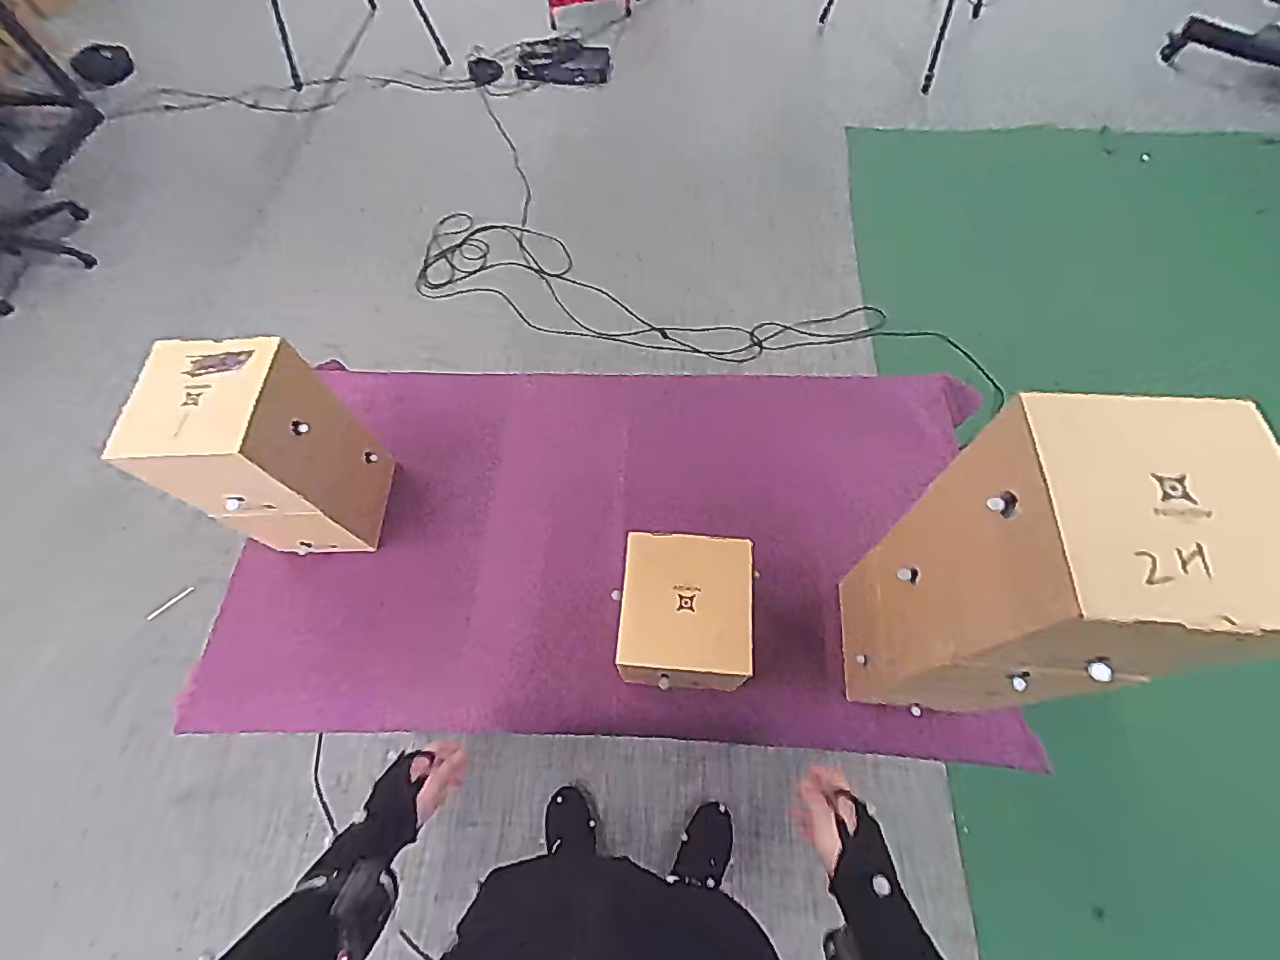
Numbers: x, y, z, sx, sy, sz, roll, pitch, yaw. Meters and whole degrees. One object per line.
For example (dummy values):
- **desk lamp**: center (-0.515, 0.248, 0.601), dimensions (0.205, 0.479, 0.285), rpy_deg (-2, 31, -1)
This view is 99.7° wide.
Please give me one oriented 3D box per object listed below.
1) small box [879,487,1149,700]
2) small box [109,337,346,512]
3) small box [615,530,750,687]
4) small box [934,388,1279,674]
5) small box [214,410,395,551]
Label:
- **small box**: center (0.372, 0.127, 0.583), dimensions (0.168, 0.176, 0.179), rpy_deg (4, 62, 6)
- **small box**: center (-0.528, -0.069, 0.728), dimensions (0.168, 0.176, 0.179), rpy_deg (-2, 64, 3)
- **small box**: center (0.063, 0.186, 0.756), dimensions (0.168, 0.176, 0.179), rpy_deg (3, 62, 5)
- **small box**: center (0.363, 0.048, 0.438), dimensions (0.168, 0.176, 0.179), rpy_deg (3, 64, 6)
- **small box**: center (-0.522, 0.005, 0.874), dimensions (0.168, 0.176, 0.179), rpy_deg (-1, 64, 3)
